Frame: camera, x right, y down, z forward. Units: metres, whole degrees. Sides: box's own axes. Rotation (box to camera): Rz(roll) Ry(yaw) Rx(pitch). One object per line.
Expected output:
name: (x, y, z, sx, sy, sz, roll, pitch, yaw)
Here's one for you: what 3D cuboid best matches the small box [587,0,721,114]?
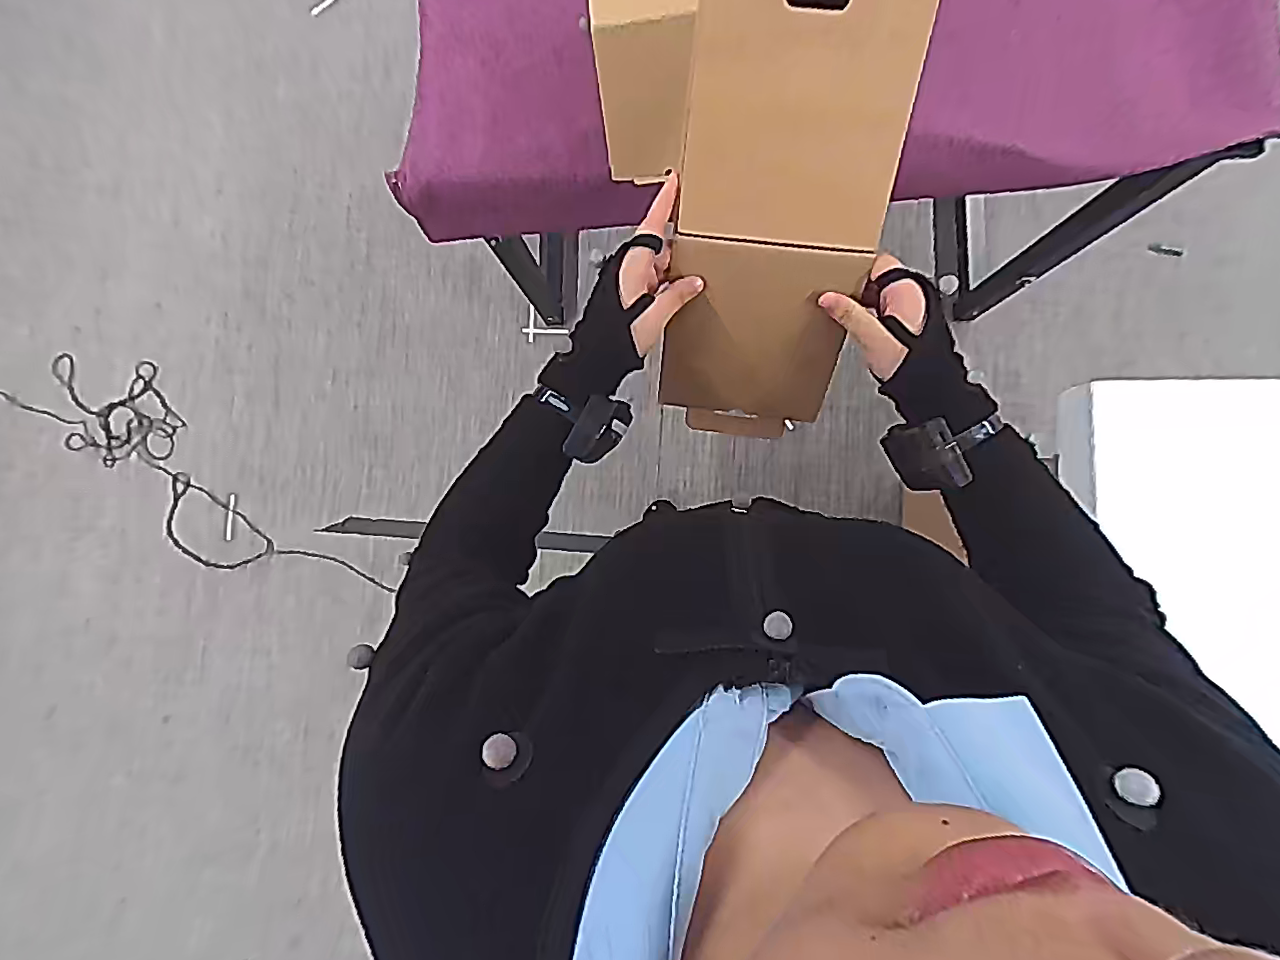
small box: (0.019, -0.639, 0.741, 0.168, 0.176, 0.179, -5, 85, 3)
